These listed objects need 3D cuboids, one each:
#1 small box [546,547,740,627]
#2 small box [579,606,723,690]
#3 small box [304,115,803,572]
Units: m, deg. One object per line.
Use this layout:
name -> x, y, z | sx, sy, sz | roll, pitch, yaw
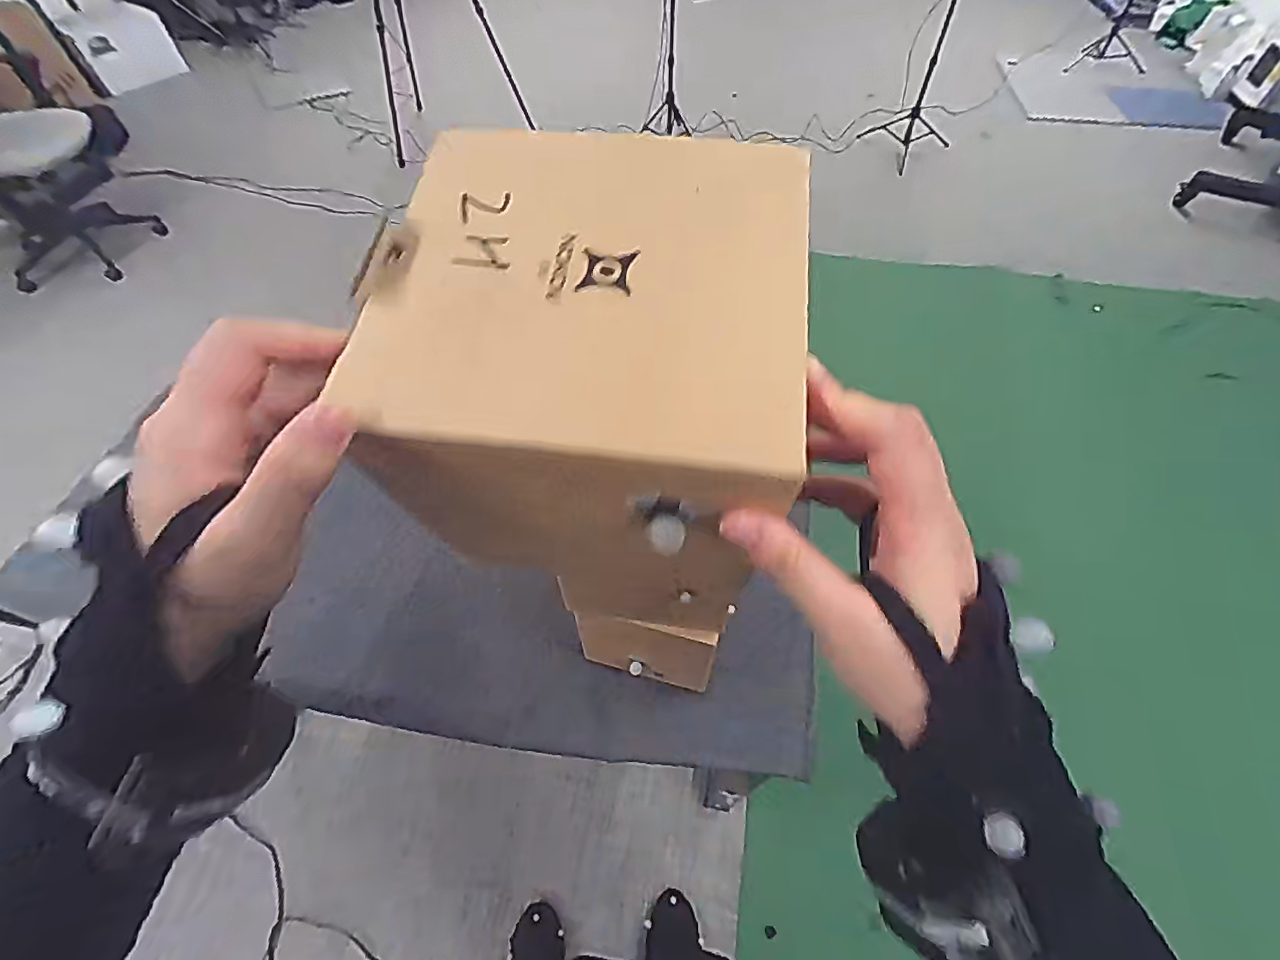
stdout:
small box -> 0.010, 0.039, 0.566 | 0.179, 0.176, 0.168 | 5, 51, 7
small box -> 0.024, 0.140, 0.692 | 0.168, 0.176, 0.179 | 12, 54, 11
small box -> -0.020, -0.057, 0.289 | 0.179, 0.176, 0.168 | 5, 64, 7
